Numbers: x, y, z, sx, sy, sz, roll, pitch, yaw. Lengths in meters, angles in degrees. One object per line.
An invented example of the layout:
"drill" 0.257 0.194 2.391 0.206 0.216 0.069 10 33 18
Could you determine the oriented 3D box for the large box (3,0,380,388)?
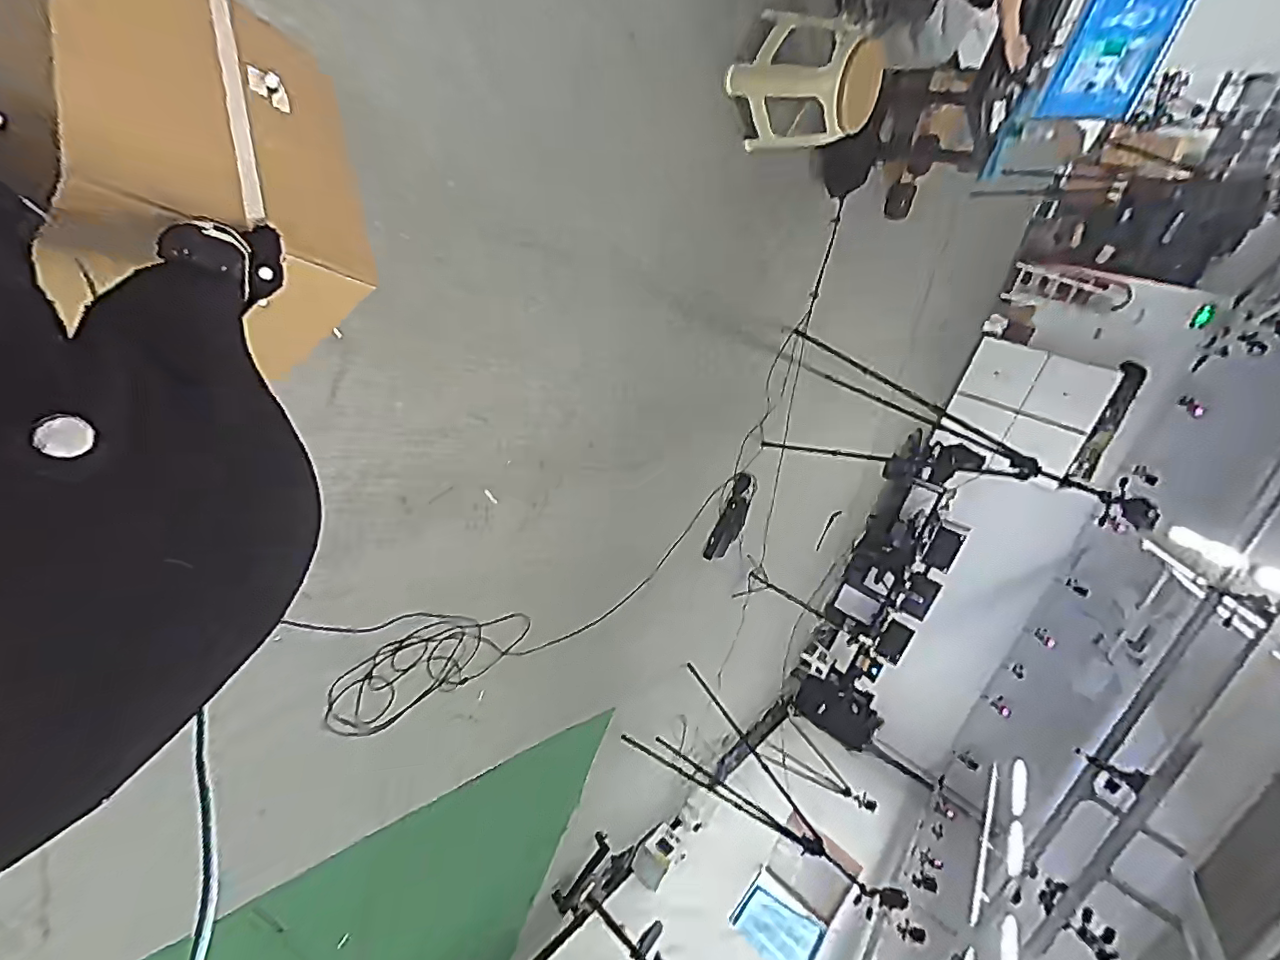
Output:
"large box" -0.627 -0.392 0.759 0.320 0.408 0.320 -25 165 27
